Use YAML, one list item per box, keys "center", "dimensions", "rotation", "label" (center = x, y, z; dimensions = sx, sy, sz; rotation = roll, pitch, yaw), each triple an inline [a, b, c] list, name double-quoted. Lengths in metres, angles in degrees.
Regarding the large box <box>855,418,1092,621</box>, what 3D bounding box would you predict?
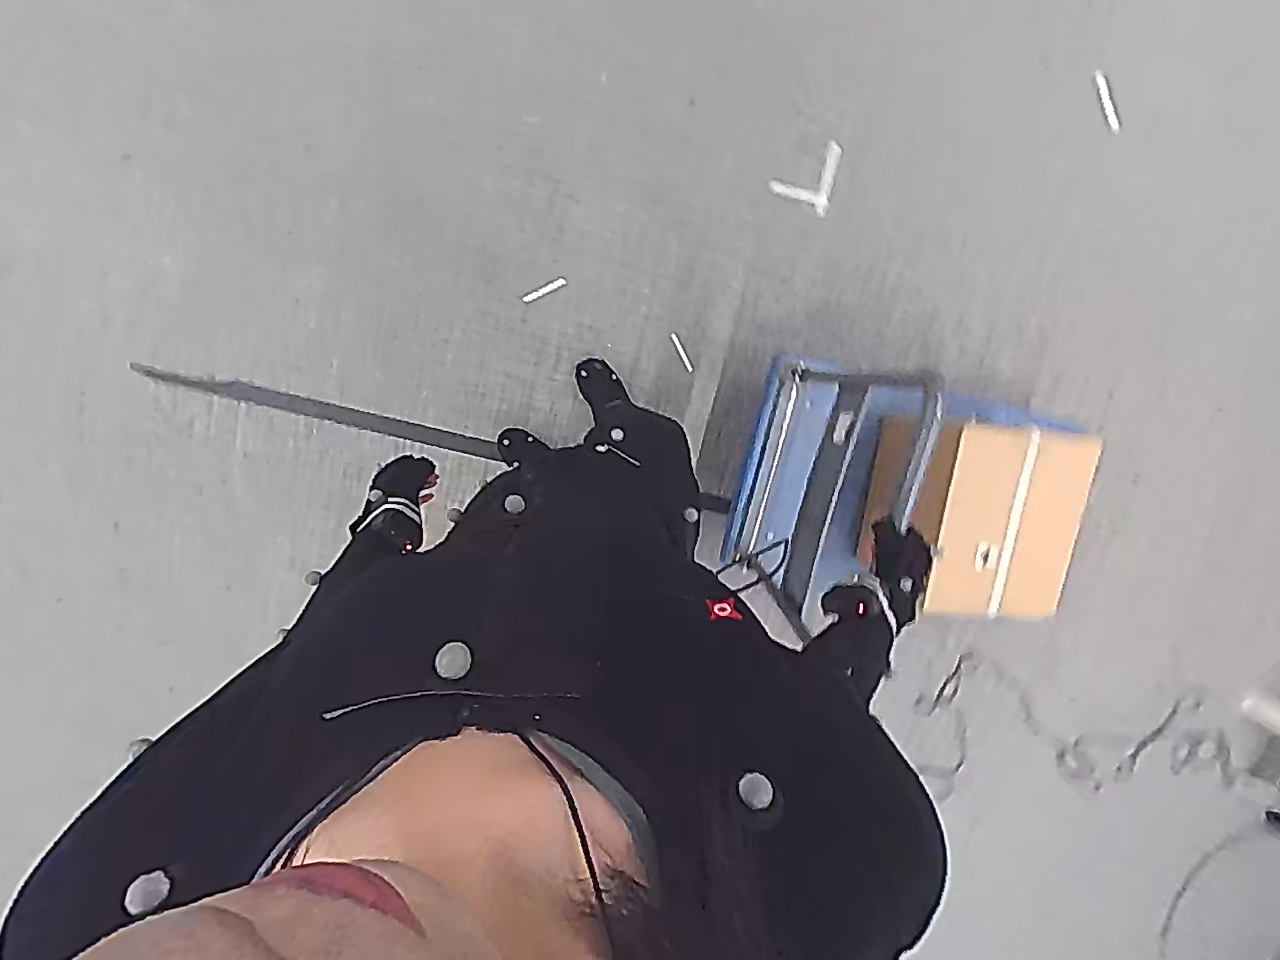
- center: [0.757, 0.075, 1.289]
  dimensions: [0.320, 0.320, 0.408]
  rotation: [6, 102, -6]
  label: "large box"
